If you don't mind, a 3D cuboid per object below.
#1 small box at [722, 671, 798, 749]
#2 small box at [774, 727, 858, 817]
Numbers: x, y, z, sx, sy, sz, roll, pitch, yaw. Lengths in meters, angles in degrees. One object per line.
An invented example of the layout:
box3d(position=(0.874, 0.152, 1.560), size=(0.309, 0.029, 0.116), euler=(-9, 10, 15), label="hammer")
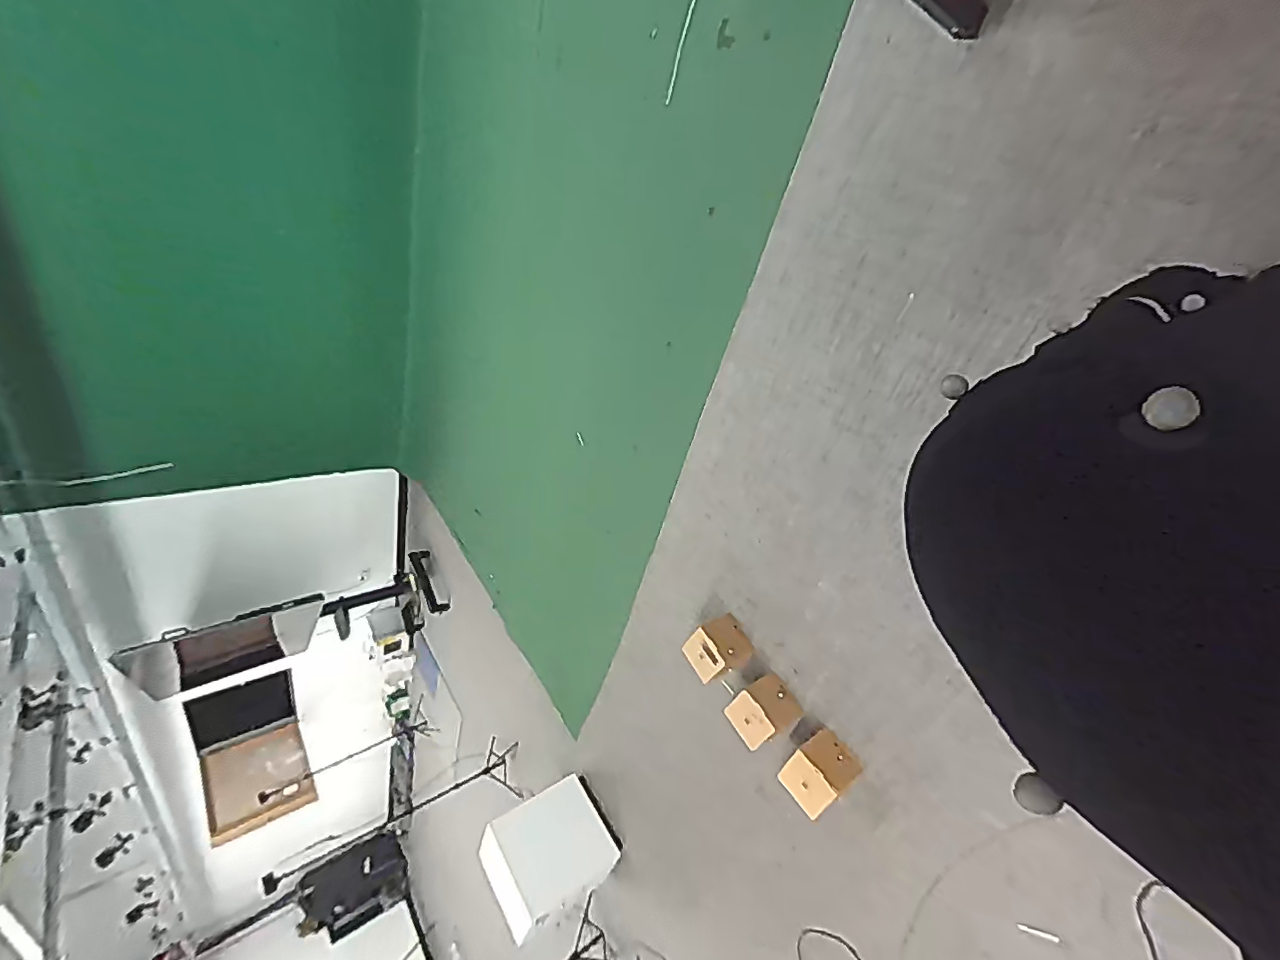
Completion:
box3d(position=(0.432, 0.823, 1.942), size=(0.168, 0.176, 0.179), euler=(51, 132, 30), label="small box")
box3d(position=(0.586, 0.962, 1.790), size=(0.168, 0.176, 0.179), euler=(44, 129, 35), label="small box")
